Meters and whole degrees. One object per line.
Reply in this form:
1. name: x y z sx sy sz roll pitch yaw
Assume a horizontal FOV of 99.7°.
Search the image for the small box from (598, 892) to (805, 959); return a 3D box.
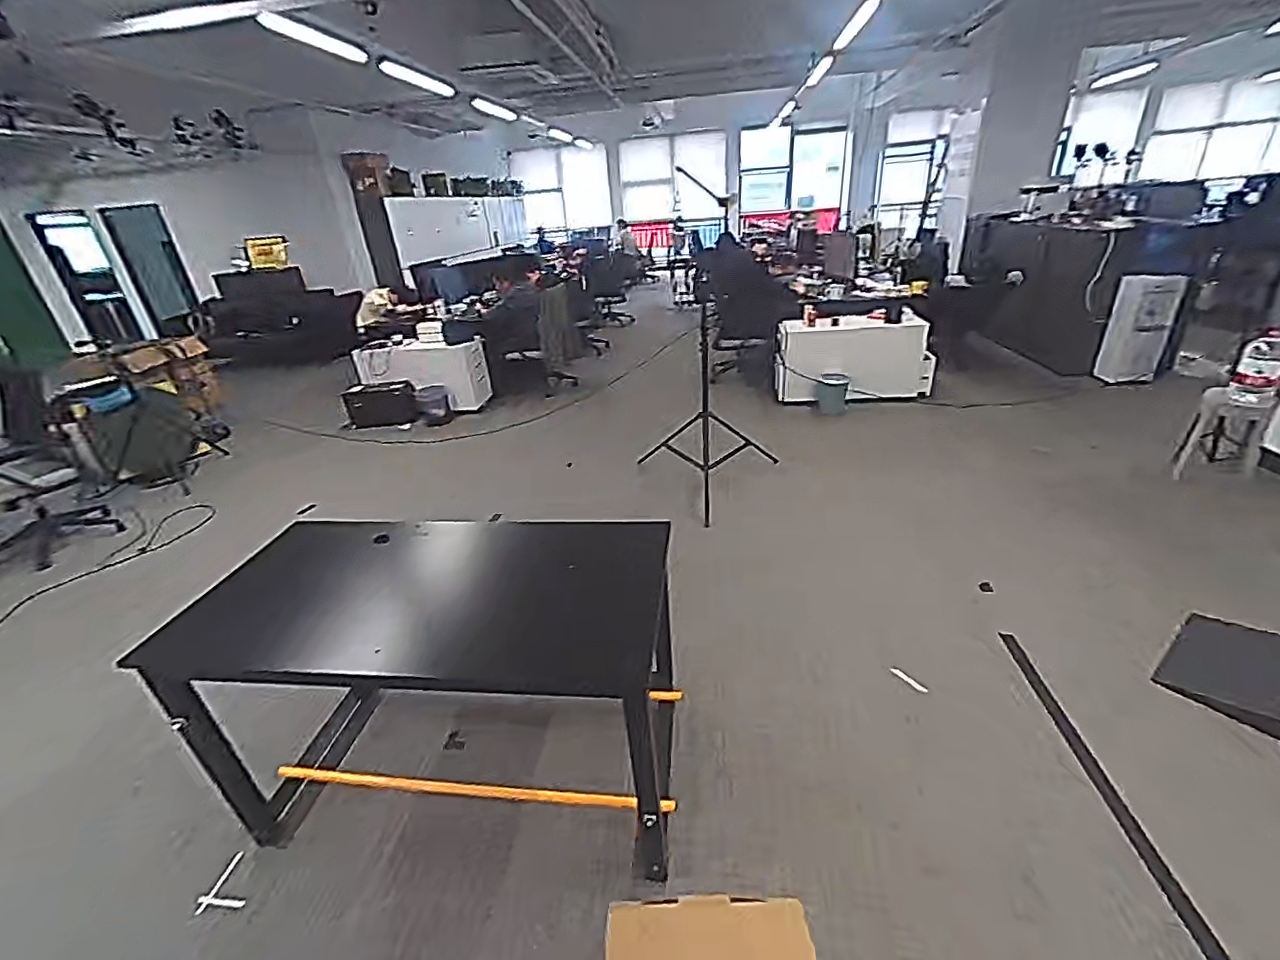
1. small box: 0.049 0.464 0.420 0.168 0.176 0.179 -2 29 -3
